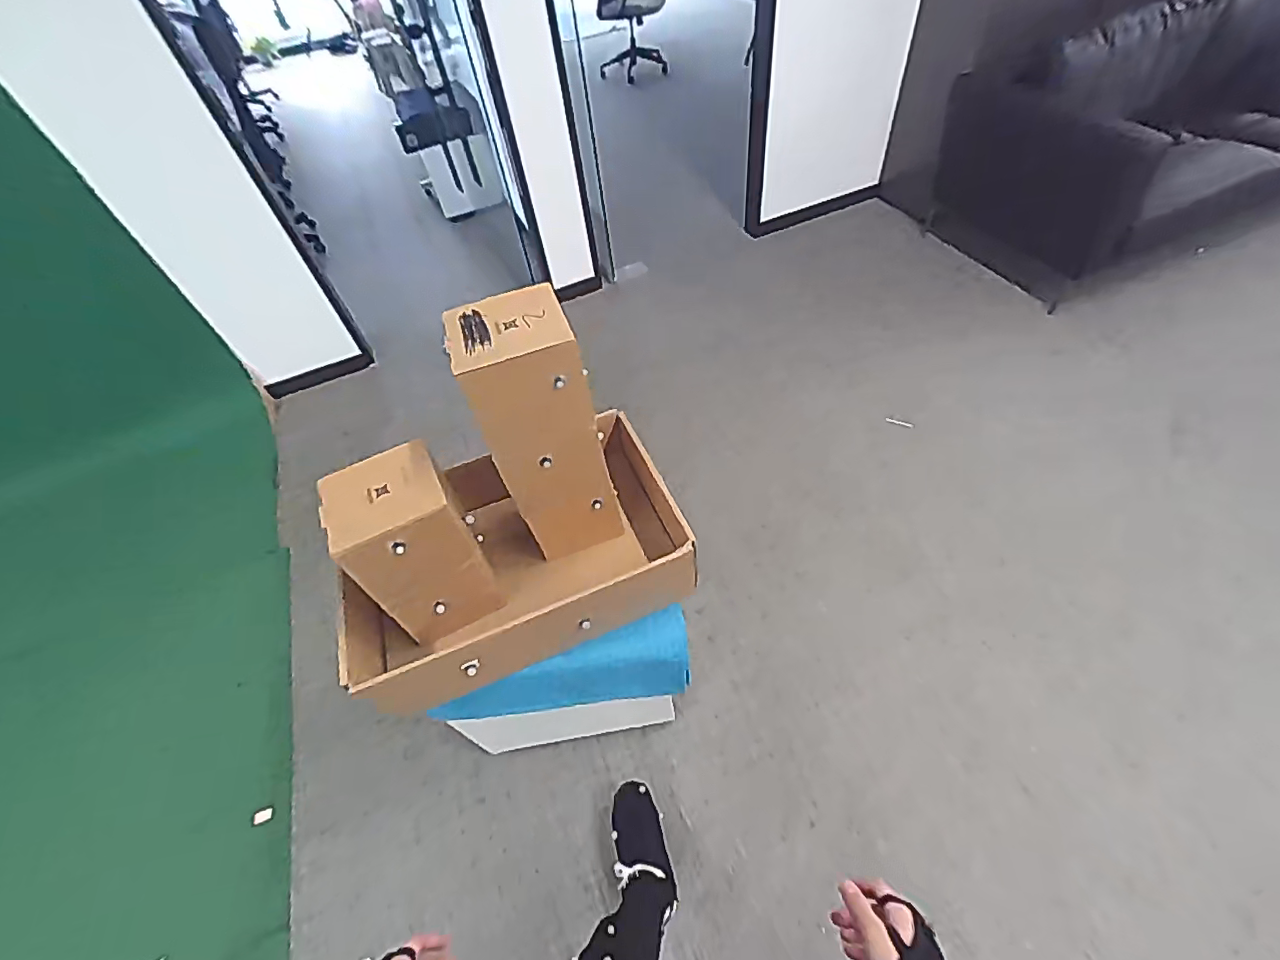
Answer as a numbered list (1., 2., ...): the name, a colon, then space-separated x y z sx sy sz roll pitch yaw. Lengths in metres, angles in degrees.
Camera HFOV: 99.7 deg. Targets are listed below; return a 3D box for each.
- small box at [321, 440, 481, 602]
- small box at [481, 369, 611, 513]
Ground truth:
1. small box: -0.388 0.071 0.890 0.179 0.176 0.168 -25 52 -13
2. small box: -0.166 -0.066 0.972 0.179 0.176 0.168 -18 52 -7
